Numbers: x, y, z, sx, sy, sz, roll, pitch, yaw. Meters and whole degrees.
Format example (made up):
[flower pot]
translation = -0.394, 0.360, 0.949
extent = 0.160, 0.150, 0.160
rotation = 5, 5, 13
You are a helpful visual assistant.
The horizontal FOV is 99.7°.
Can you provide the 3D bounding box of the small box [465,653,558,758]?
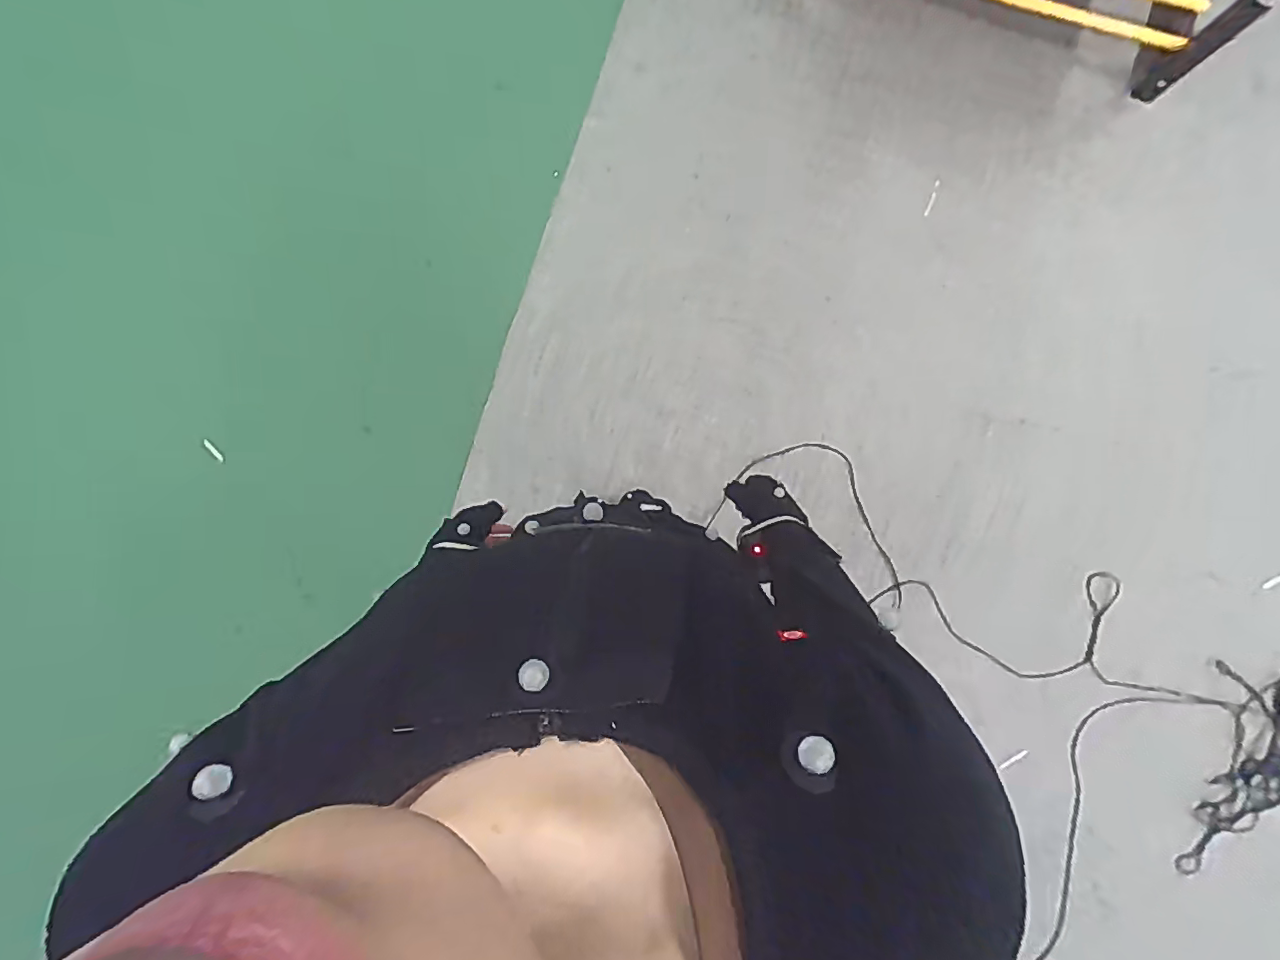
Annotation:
[small box]
translation = -0.321, 0.570, 1.395
extent = 0.168, 0.176, 0.179
rotation = 20, 89, 1
